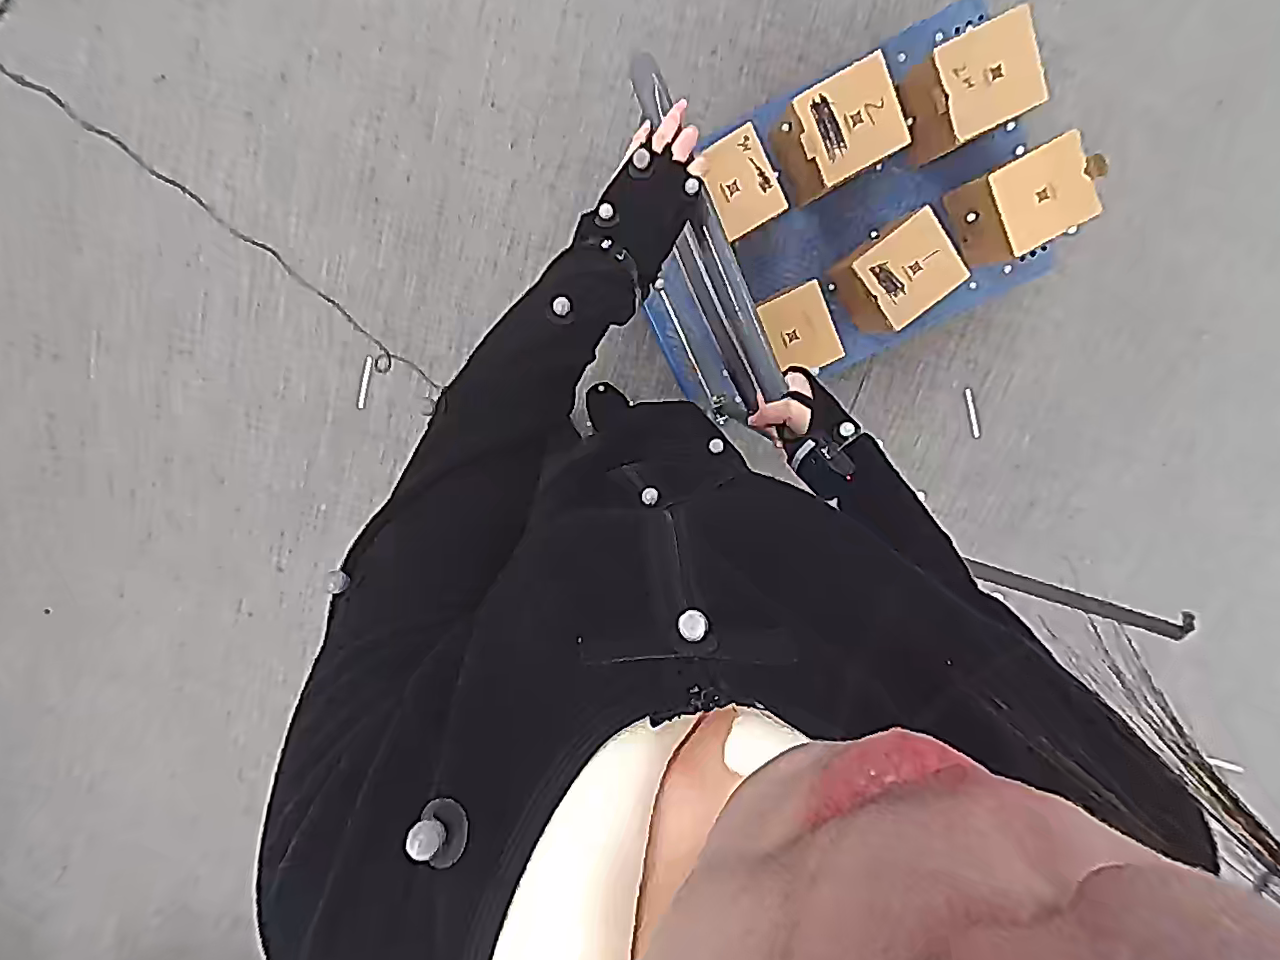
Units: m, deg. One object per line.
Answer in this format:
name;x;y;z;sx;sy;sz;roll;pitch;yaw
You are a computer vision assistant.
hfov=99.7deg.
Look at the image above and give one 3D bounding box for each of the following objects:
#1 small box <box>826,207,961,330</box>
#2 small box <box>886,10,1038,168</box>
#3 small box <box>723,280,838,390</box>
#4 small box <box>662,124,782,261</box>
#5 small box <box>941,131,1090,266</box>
small box;0.516;-0.431;1.137;0.179;0.176;0.168;-37;103;7
small box;0.619;-0.747;1.056;0.179;0.176;0.168;-24;104;5
small box;0.290;-0.309;1.164;0.179;0.176;0.168;-25;105;4
small box;0.156;-0.565;1.091;0.179;0.176;0.168;-29;105;6
small box;0.753;-0.562;1.110;0.179;0.176;0.168;-28;103;6
